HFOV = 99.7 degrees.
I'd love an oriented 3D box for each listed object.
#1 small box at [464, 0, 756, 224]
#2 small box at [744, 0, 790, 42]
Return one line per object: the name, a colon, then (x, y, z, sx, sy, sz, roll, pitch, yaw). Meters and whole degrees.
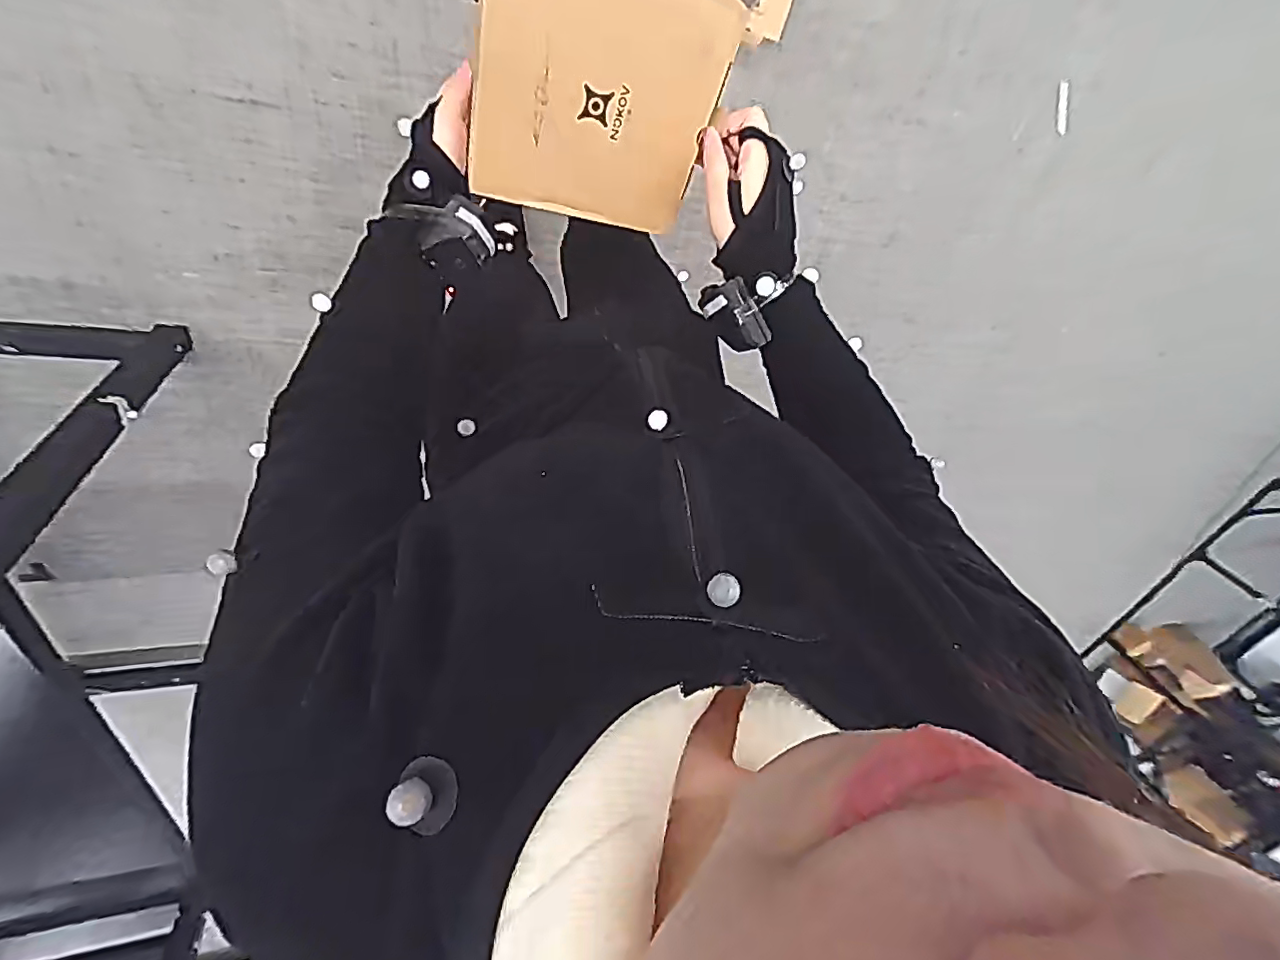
small box: (-0.042, -0.341, 0.434, 0.179, 0.176, 0.168, 3, 139, -22)
small box: (0.176, -0.922, 0.969, 0.168, 0.176, 0.179, 4, 126, -24)
